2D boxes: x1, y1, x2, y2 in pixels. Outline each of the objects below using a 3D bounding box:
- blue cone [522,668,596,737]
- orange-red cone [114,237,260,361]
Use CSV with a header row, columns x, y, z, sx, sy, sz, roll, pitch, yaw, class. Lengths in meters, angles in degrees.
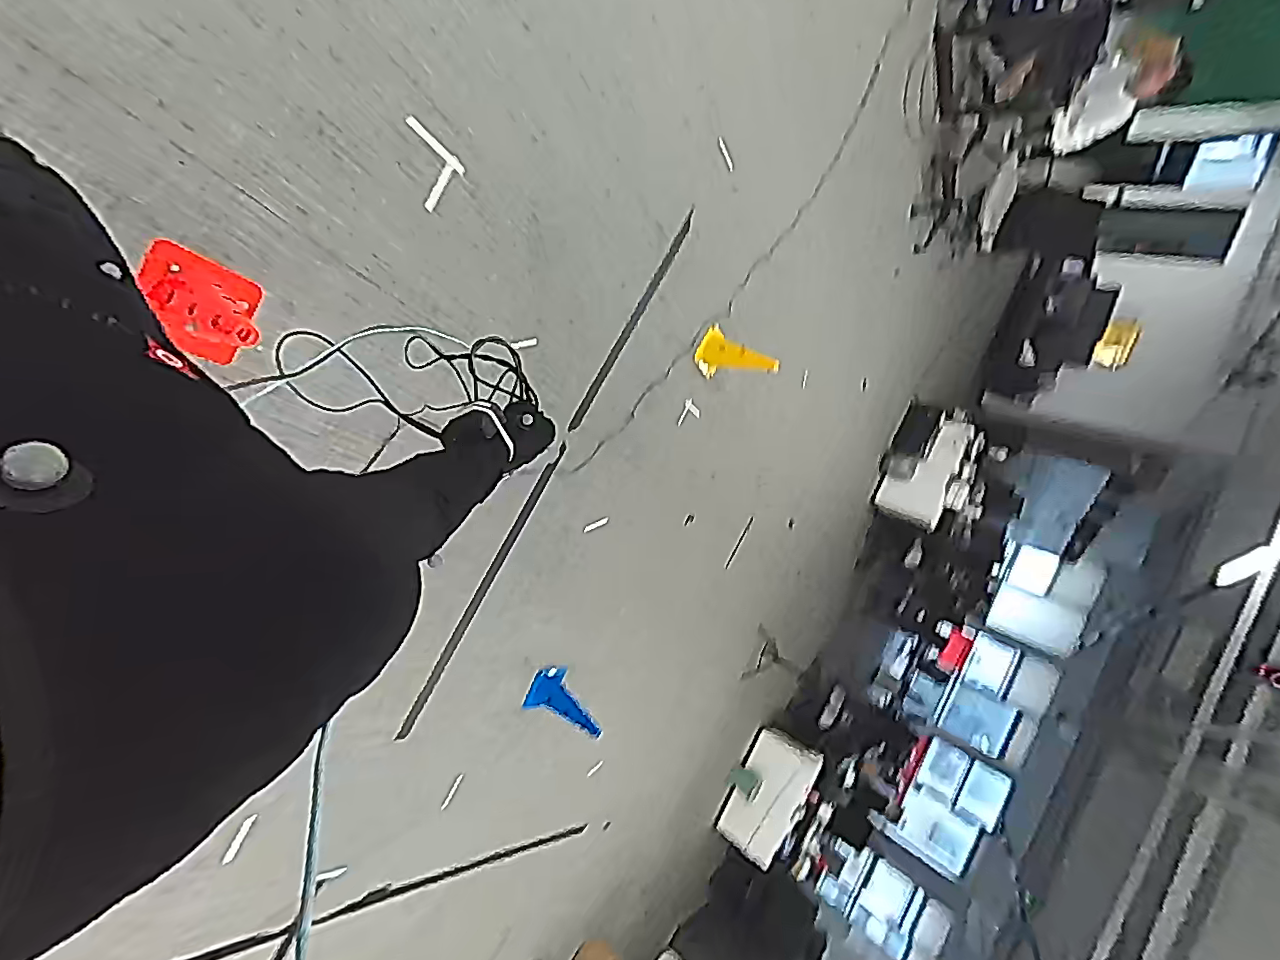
x,y,z,sx,sy,sz,roll,pitch,yaw,class
-0.327,1.006,2.389,0.192,0.380,0.193,26,89,-54,blue cone
-0.806,-0.309,1.020,0.198,0.360,0.199,27,89,-54,orange-red cone
